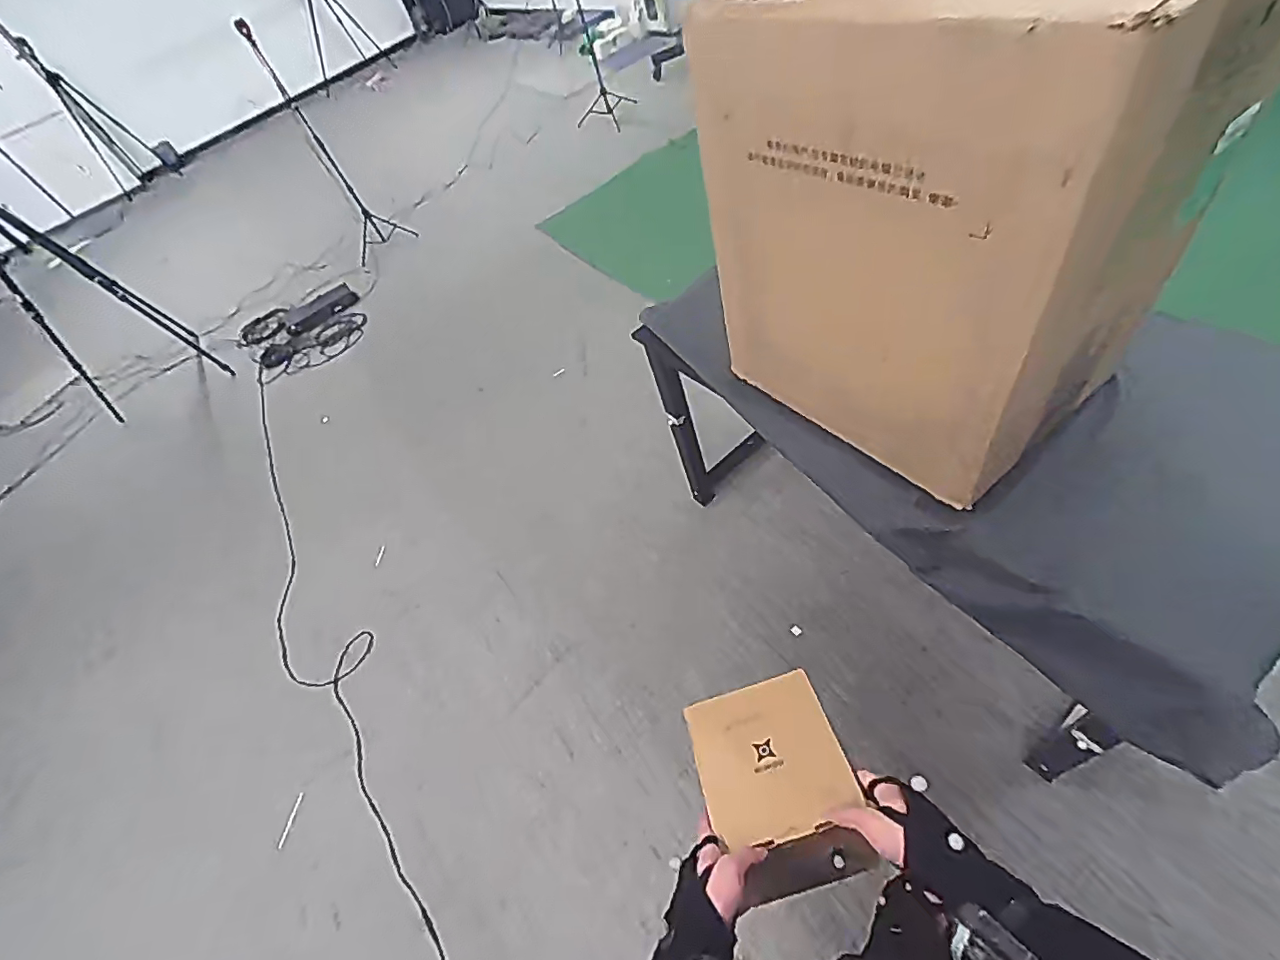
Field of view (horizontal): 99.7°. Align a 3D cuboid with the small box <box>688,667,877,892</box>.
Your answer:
[{"bbox_3d":[0.176,0.376,0.674,0.168,0.176,0.179,-20,33,2],"label":"small box"}]
